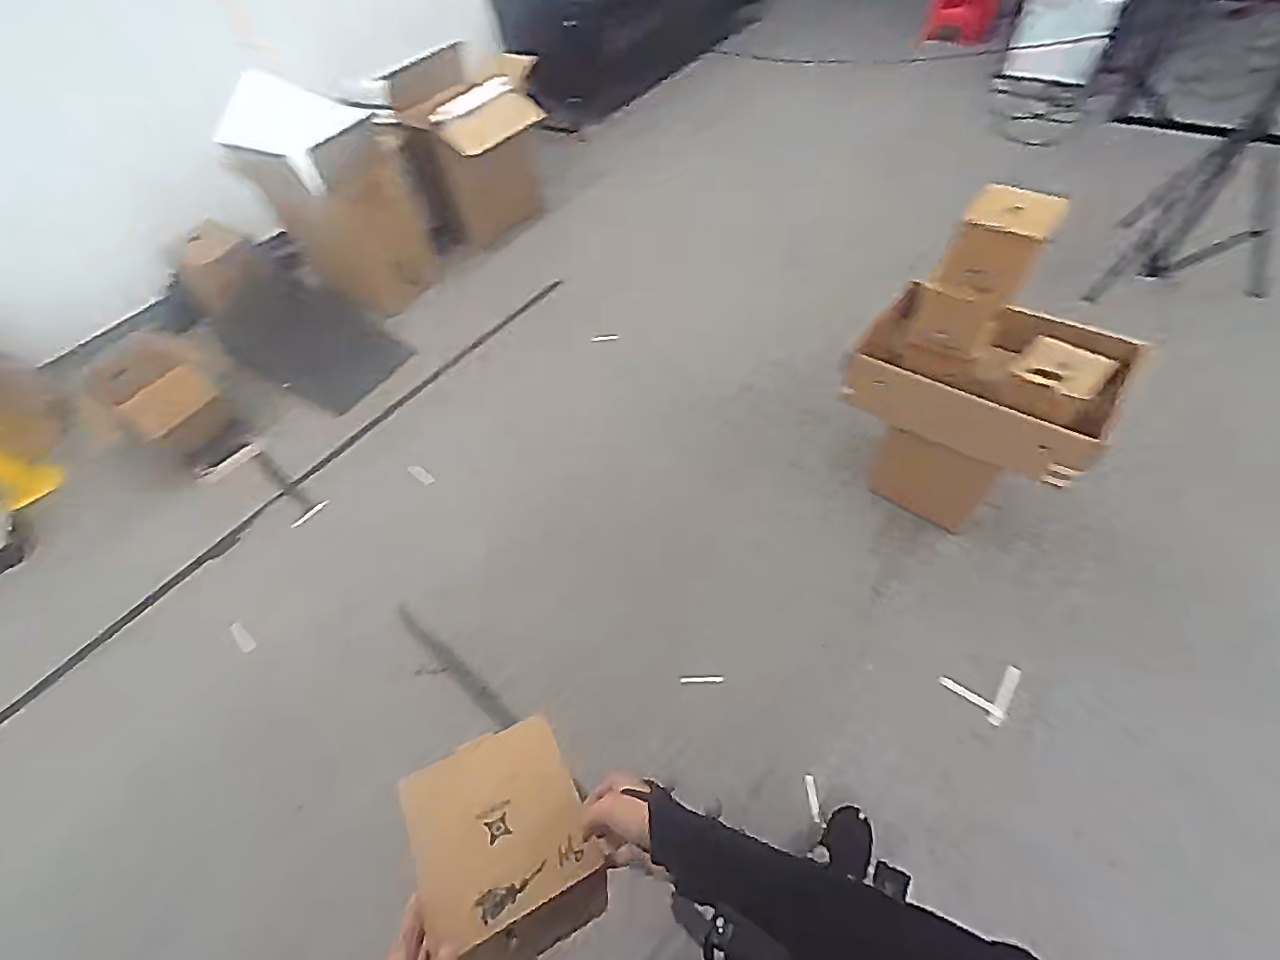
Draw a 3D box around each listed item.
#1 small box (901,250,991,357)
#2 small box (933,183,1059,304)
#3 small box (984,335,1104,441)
[{"bbox_3d":[0.790,-0.446,1.371,0.168,0.176,0.179,27,62,24],"label":"small box"},{"bbox_3d":[0.802,-0.538,1.235,0.168,0.176,0.179,30,64,25],"label":"small box"},{"bbox_3d":[1.016,-0.231,1.377,0.179,0.176,0.168,-41,58,-20],"label":"small box"}]
